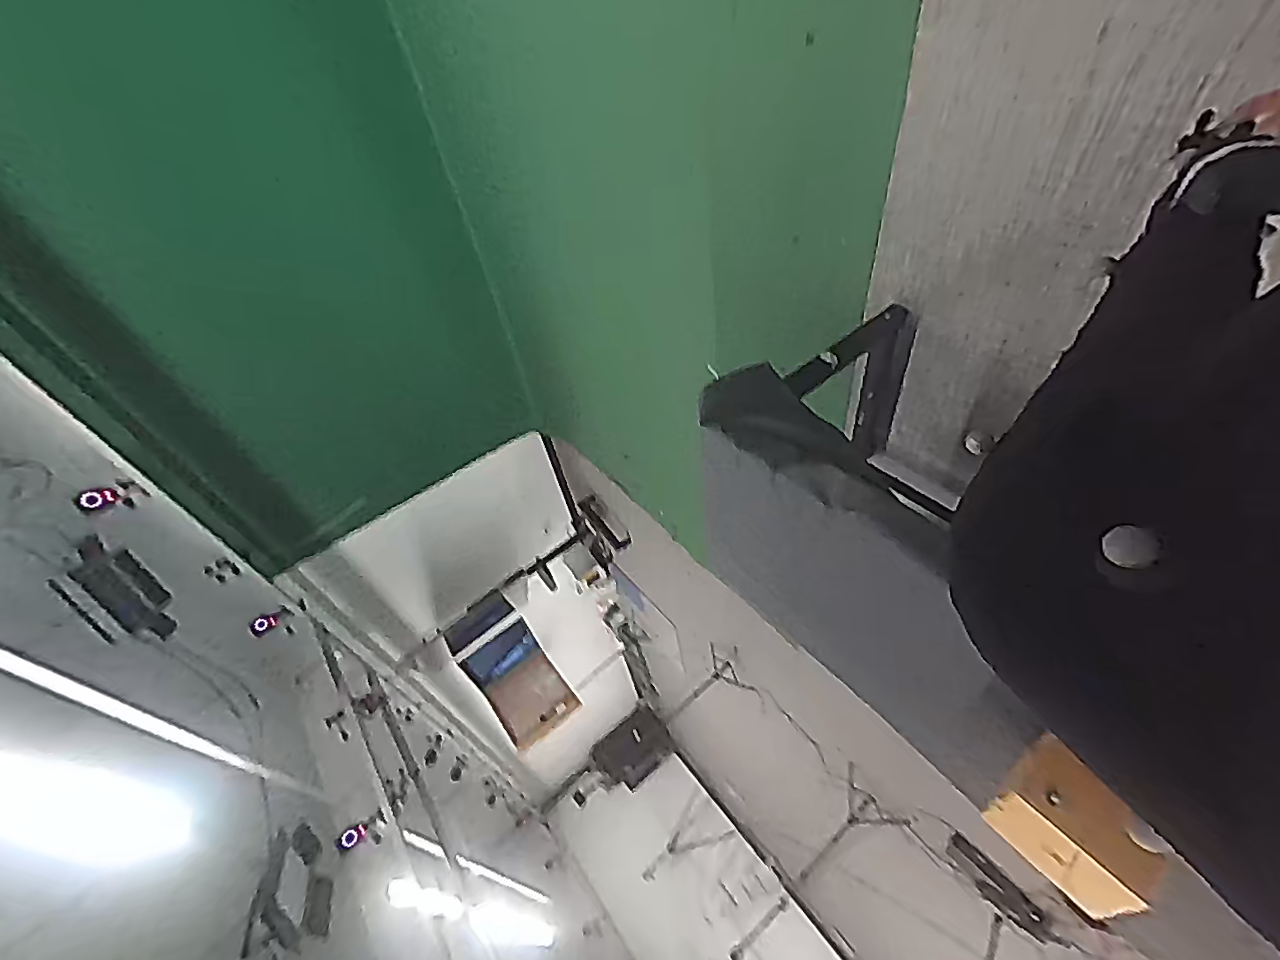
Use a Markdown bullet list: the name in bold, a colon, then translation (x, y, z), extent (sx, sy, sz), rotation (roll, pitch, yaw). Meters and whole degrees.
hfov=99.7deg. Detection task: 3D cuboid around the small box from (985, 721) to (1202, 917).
- **small box**: translation (0.683, 0.512, 0.825), extent (0.179, 0.176, 0.168), rotation (40, 155, 38)
